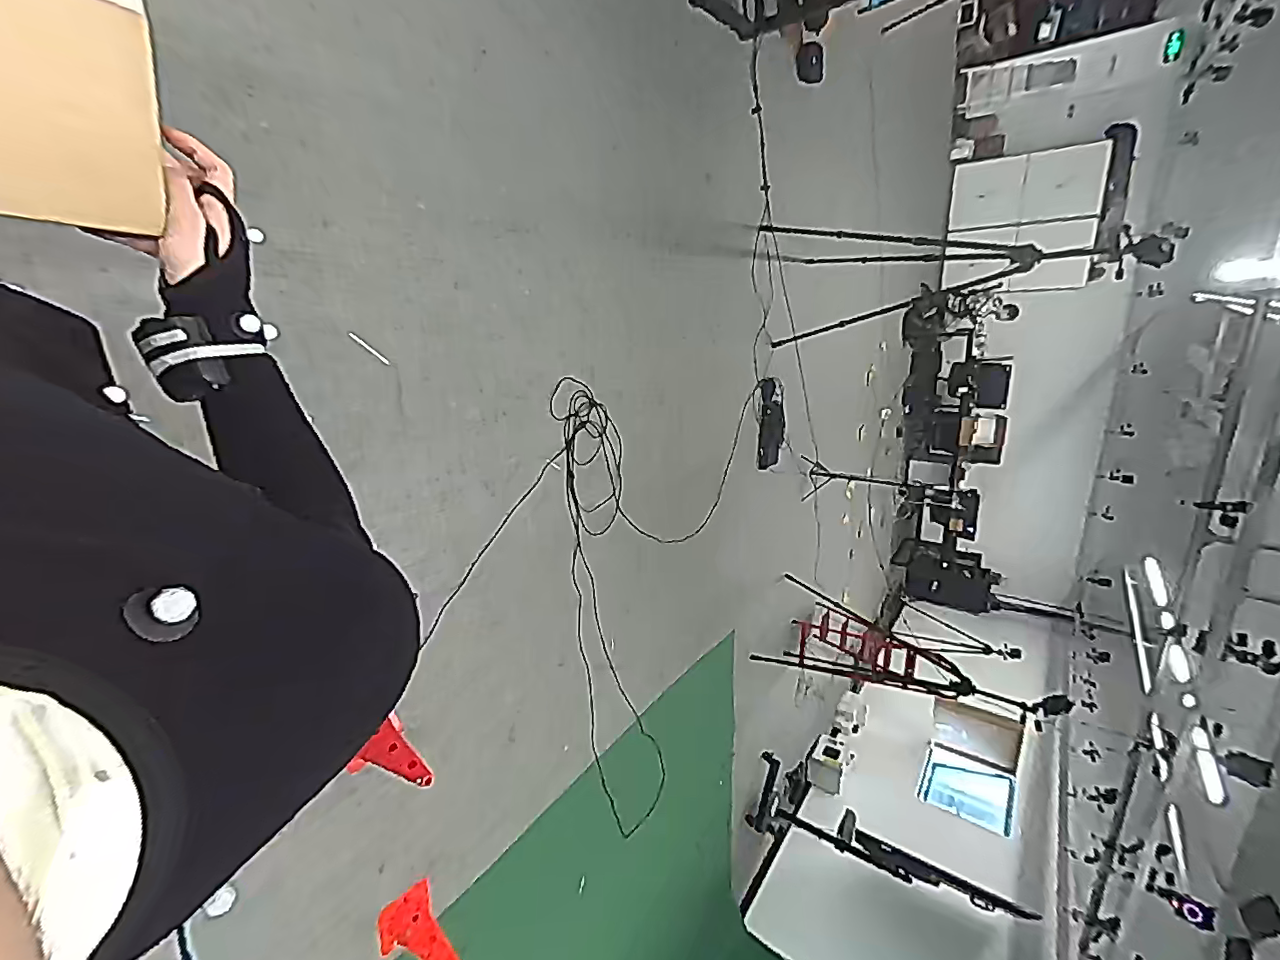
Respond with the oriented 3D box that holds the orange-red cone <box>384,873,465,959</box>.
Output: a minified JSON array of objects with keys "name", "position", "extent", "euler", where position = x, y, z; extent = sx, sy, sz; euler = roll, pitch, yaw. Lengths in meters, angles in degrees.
[{"name":"orange-red cone","position":[-0.736,1.649,1.947],"extent":[0.199,0.360,0.198],"euler":[-14,110,-53]}]
